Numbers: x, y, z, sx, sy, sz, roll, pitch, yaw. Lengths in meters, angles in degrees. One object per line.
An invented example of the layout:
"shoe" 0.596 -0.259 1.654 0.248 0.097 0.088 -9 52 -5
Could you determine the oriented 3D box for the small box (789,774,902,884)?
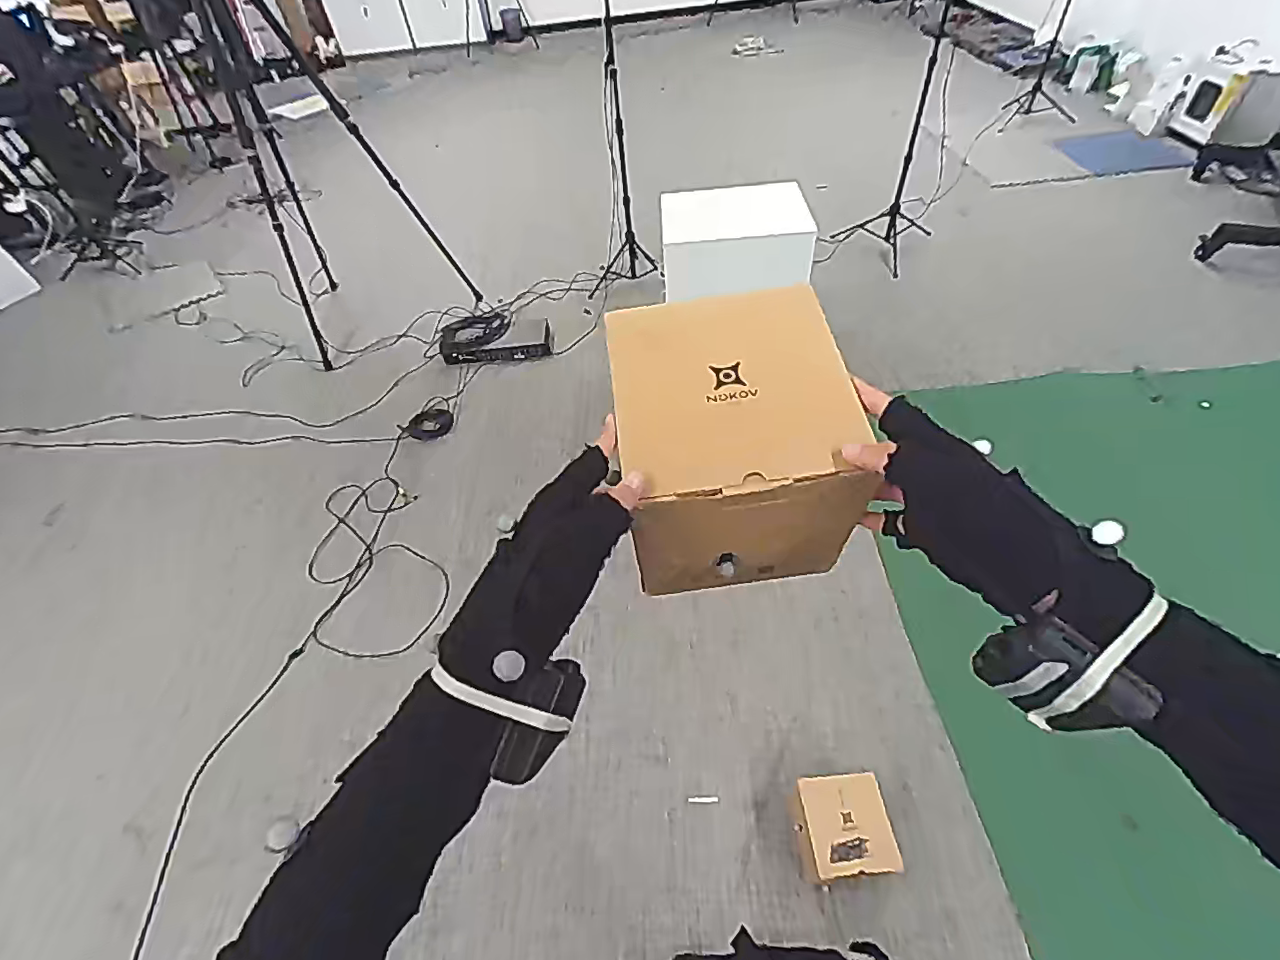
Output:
"small box" 0.423 0.742 1.145 0.168 0.176 0.179 -6 49 1
